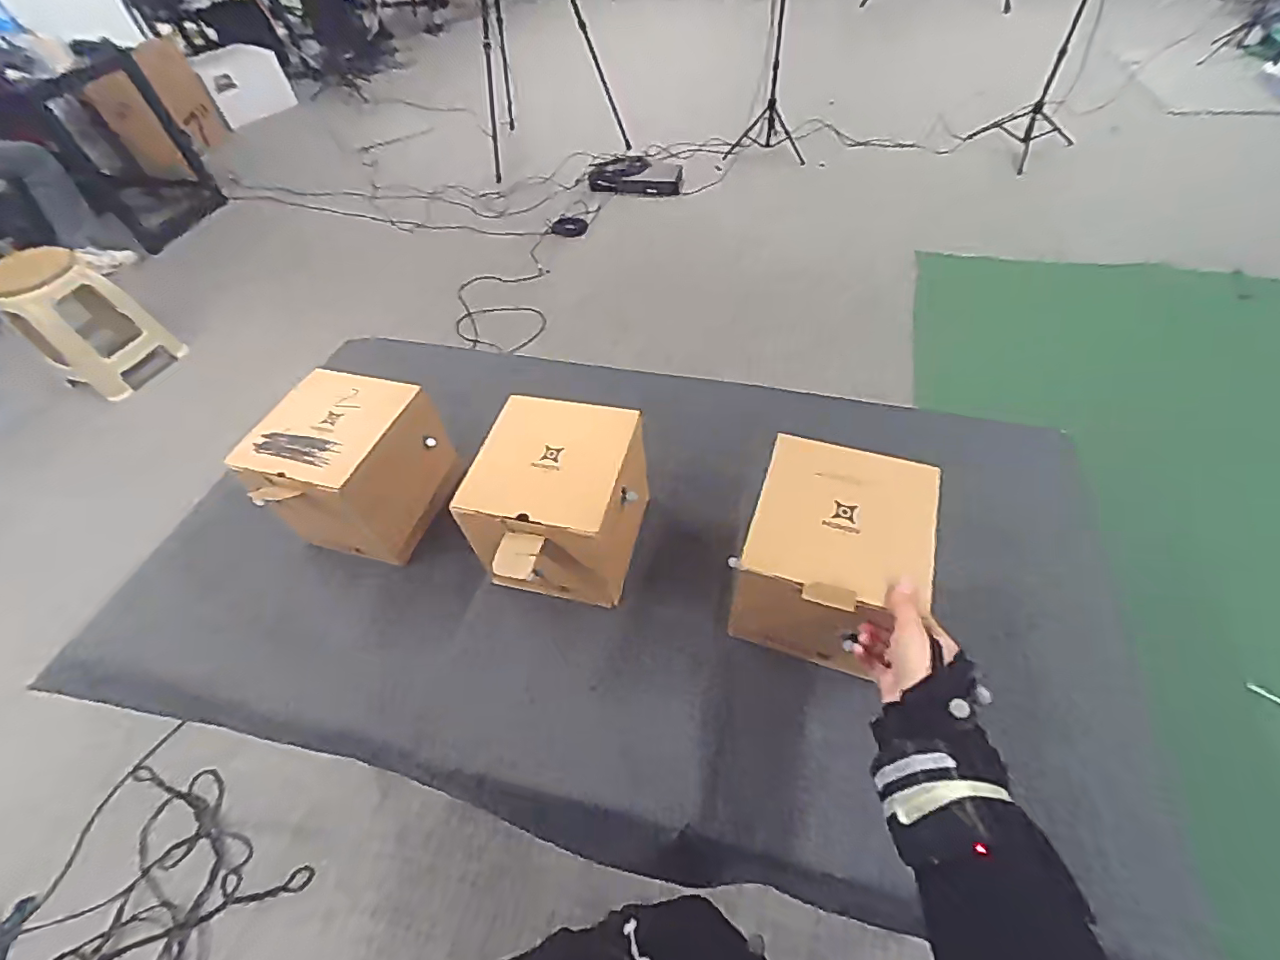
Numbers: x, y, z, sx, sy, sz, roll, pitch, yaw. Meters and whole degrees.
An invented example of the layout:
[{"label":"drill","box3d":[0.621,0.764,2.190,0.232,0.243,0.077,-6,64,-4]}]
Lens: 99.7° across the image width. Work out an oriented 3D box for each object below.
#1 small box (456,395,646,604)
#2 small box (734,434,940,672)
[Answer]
[{"label":"small box","box3d":[-0.090,0.025,0.660,0.168,0.176,0.179,9,54,12]},{"label":"small box","box3d":[0.203,0.083,0.585,0.168,0.176,0.179,15,55,14]}]
